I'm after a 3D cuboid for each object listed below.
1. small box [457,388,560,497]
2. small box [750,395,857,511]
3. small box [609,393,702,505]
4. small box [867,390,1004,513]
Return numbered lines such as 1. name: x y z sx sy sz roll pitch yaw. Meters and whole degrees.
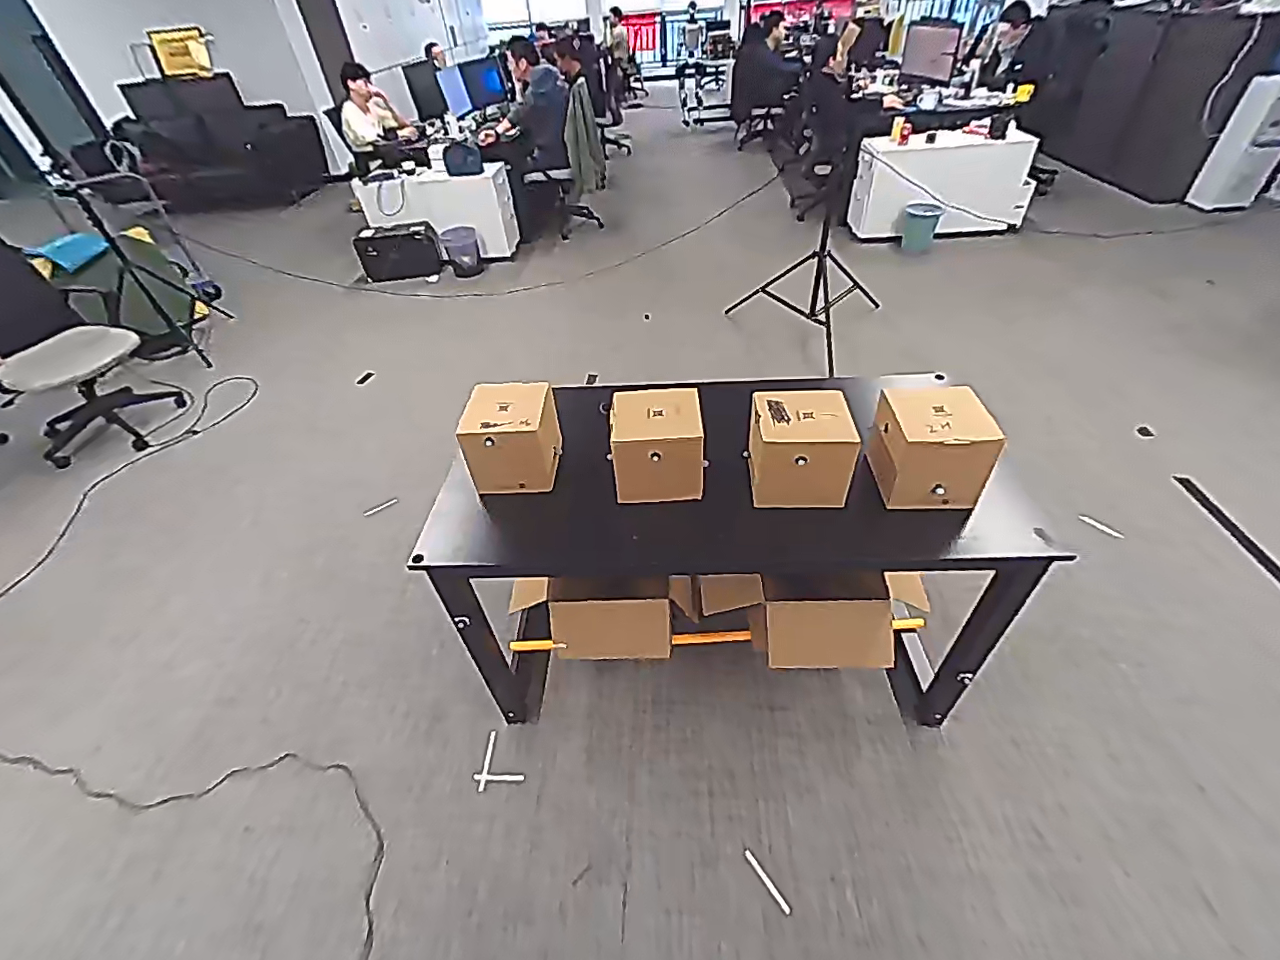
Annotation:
1. small box: -0.272 -0.081 1.163 0.168 0.176 0.179 -2 42 3
2. small box: 0.311 -0.052 1.071 0.179 0.176 0.168 0 42 6
3. small box: 0.035 -0.061 1.113 0.179 0.176 0.168 -3 43 2
4. small box: 0.555 -0.057 1.048 0.168 0.176 0.179 -1 42 6
